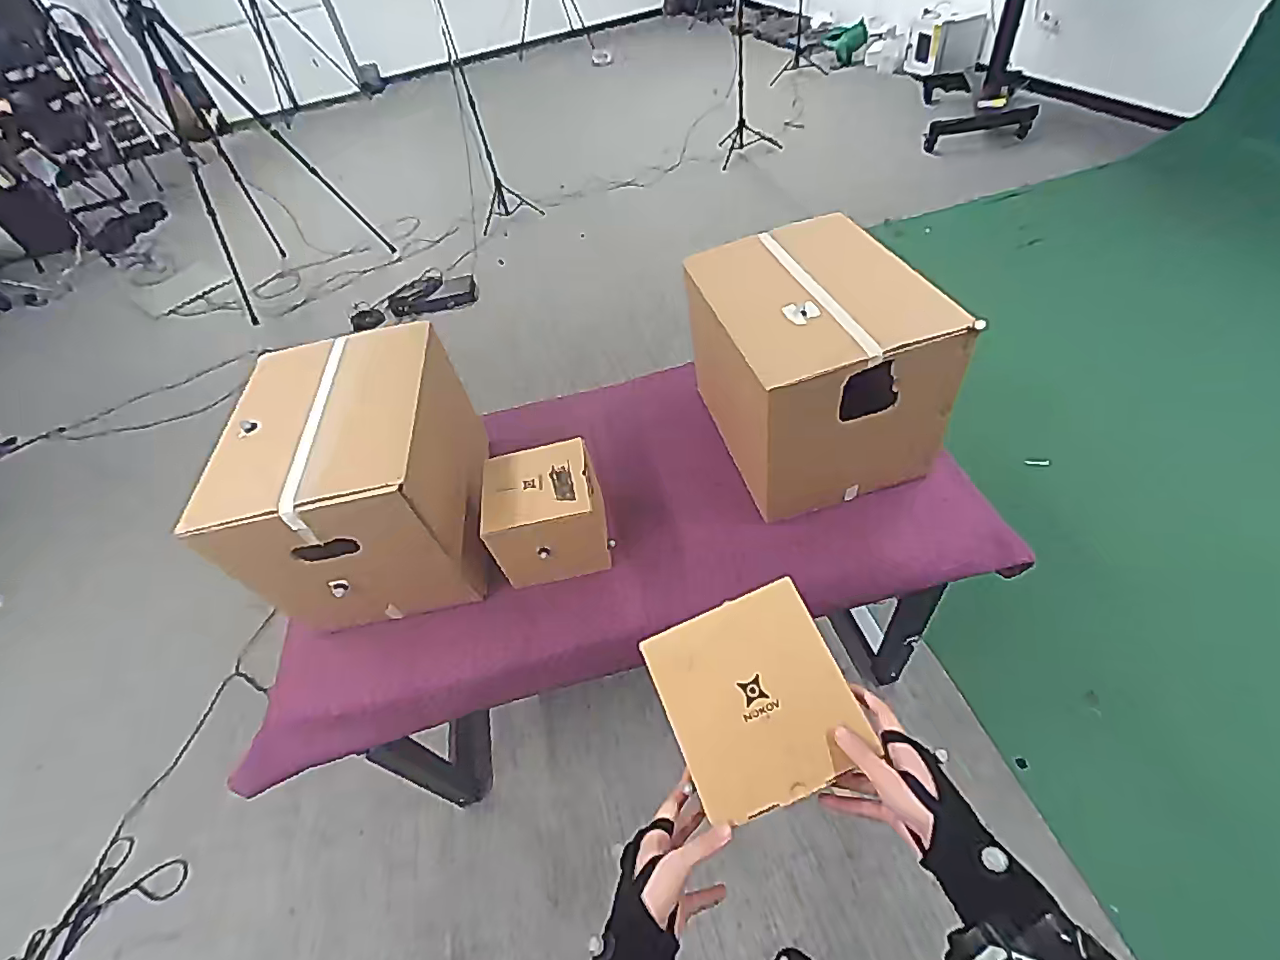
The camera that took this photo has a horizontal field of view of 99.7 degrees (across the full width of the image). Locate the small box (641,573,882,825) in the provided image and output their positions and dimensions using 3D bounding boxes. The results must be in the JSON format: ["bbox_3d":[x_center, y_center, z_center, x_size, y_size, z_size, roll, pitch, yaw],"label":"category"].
[{"bbox_3d":[0.112,0.226,0.569,0.168,0.176,0.179,-23,65,-4],"label":"small box"}]

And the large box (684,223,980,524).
[{"bbox_3d":[0.297,-0.197,0.973,0.320,0.320,0.408,-18,48,-1],"label":"large box"}]
